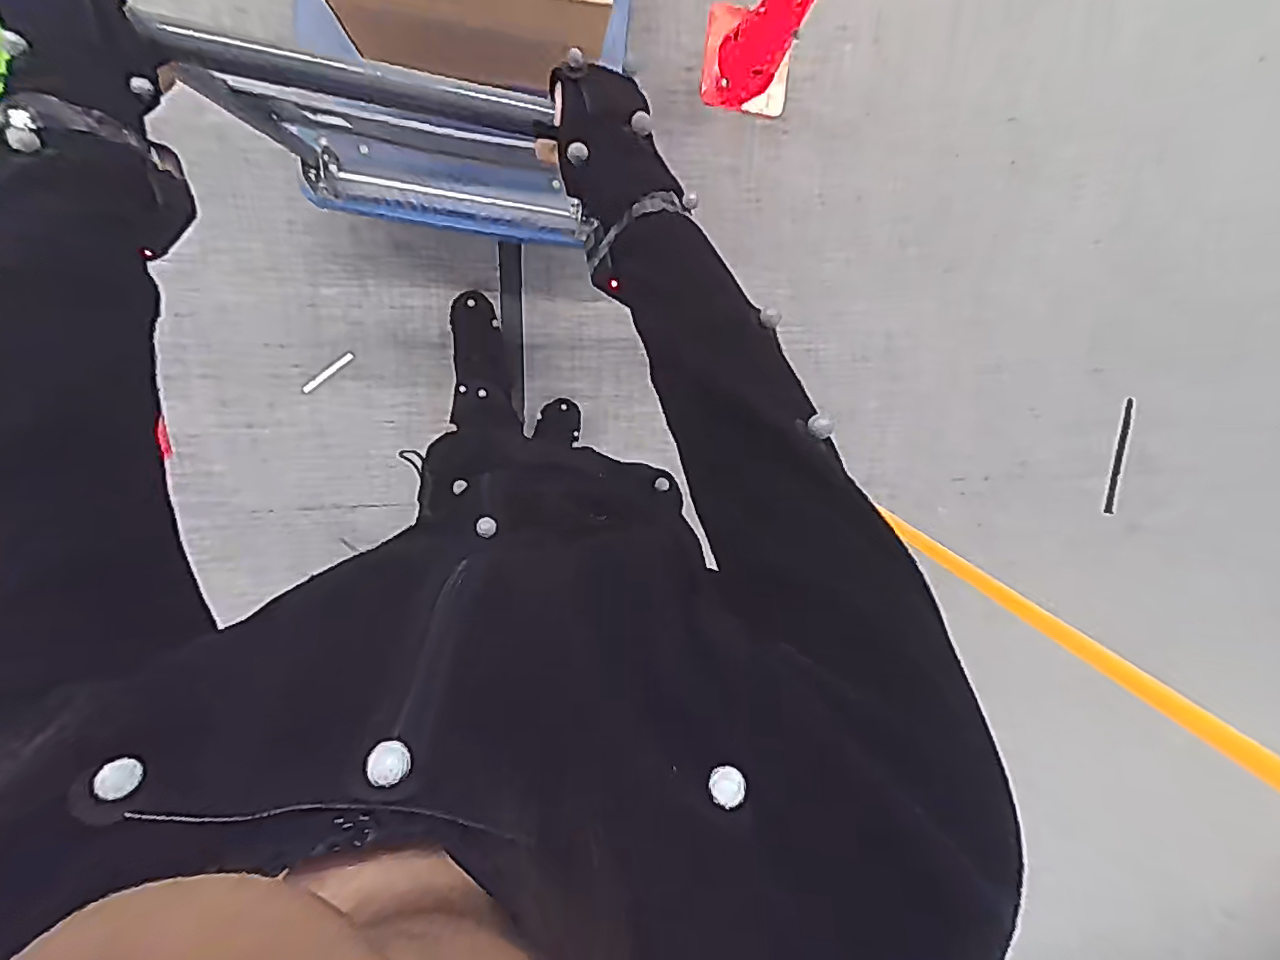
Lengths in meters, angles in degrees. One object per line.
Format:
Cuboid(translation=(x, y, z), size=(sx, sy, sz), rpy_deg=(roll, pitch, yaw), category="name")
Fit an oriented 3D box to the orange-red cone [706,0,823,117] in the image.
Cuboid(translation=(0.288, -0.910, 1.067), size=(0.199, 0.360, 0.198), rpy_deg=(5, 104, -13), category="orange-red cone")
